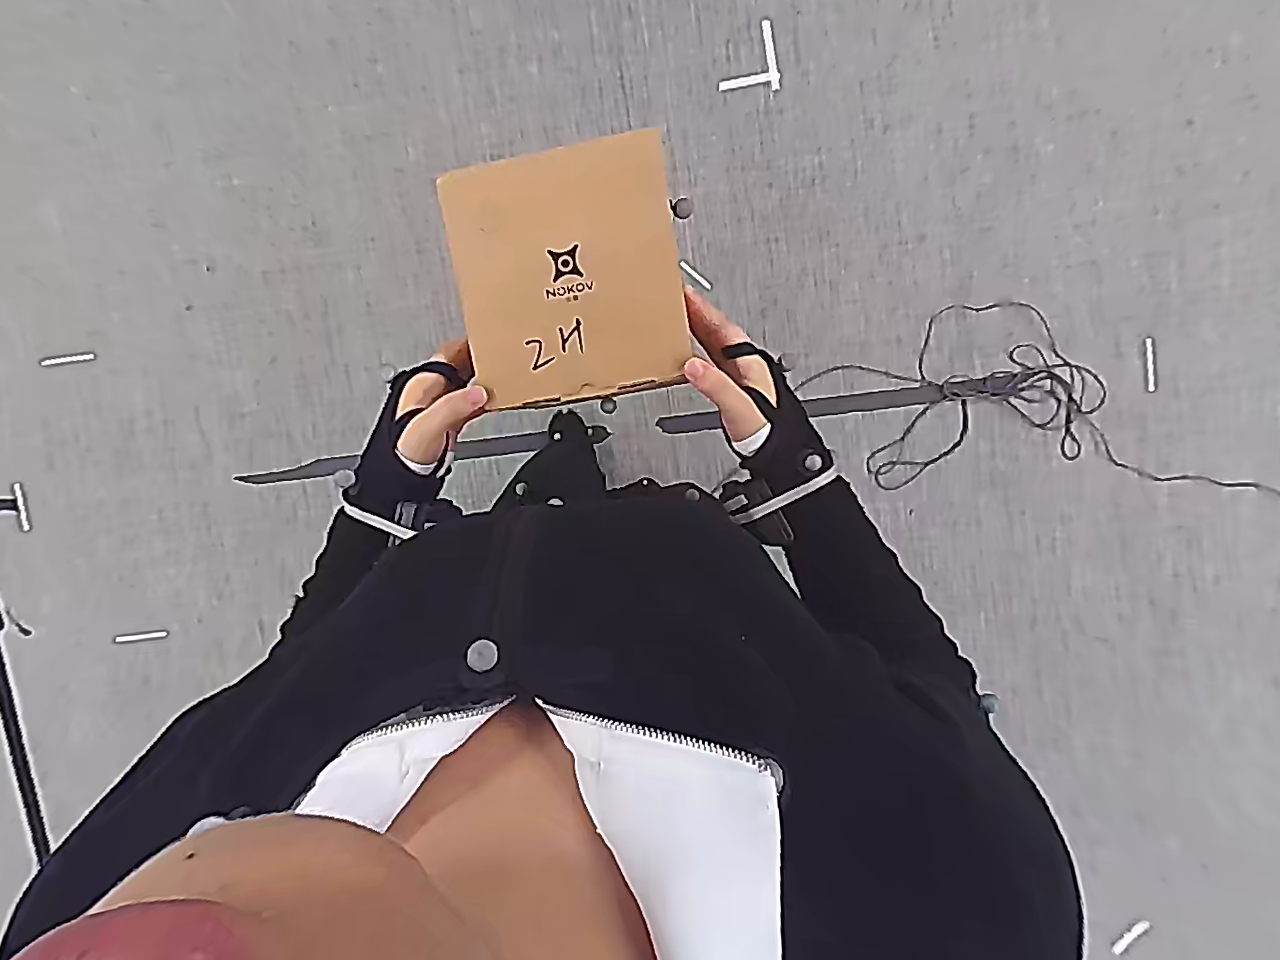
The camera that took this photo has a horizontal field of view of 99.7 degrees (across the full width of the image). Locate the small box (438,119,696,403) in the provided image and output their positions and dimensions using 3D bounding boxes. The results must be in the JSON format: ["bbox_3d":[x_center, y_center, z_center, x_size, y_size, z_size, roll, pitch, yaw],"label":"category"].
[{"bbox_3d":[-0.047,-0.165,0.469,0.168,0.176,0.179,-9,98,6],"label":"small box"}]
